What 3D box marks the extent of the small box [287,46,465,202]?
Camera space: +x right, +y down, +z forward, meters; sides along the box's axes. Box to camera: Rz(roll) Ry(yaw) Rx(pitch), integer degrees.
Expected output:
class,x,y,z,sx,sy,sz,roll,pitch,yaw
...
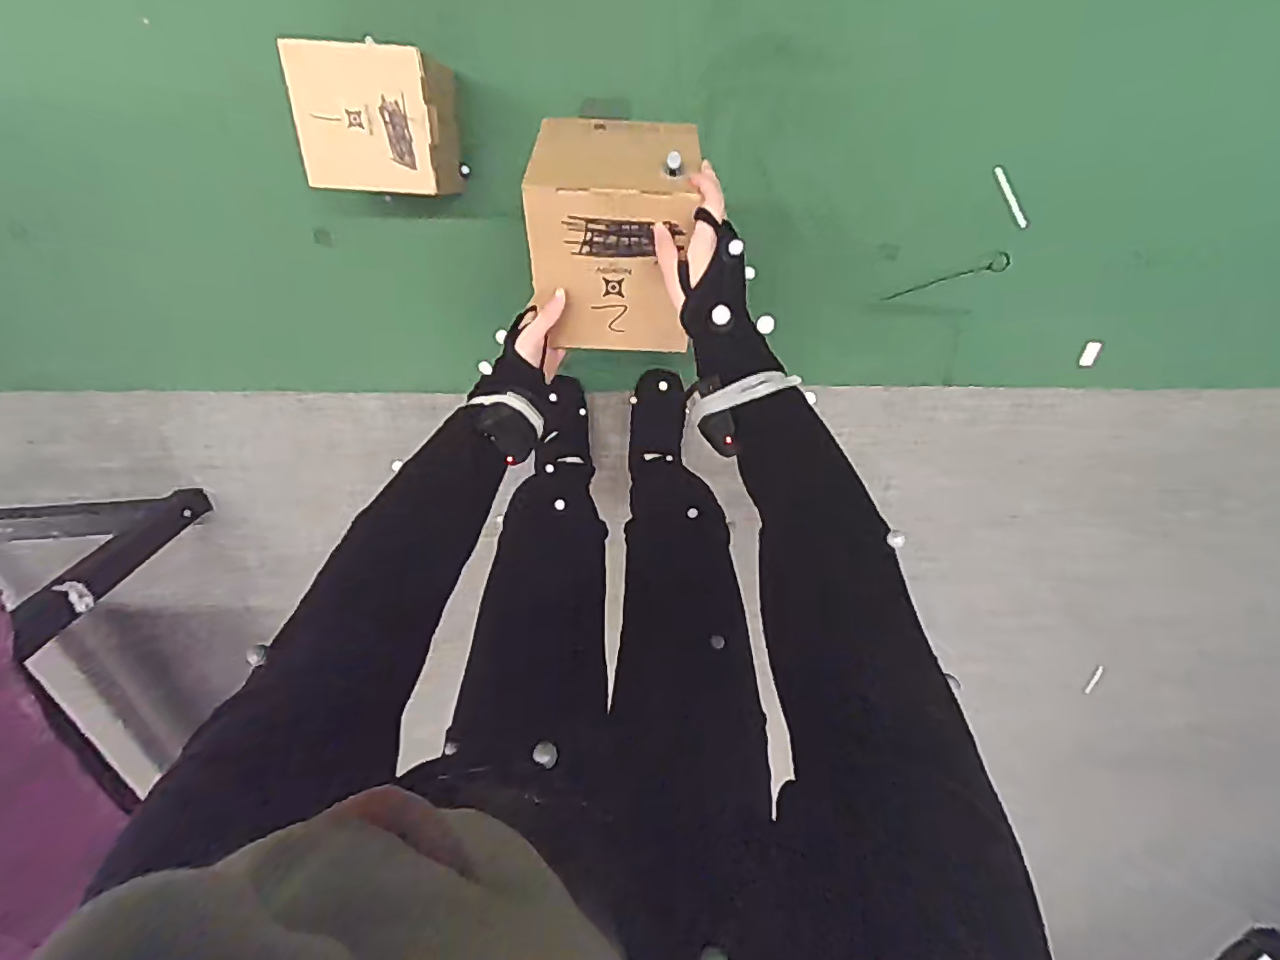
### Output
class,x,y,z,sx,sy,sz,roll,pitch,yaw
small box,-0.363,-0.507,0.788,0.179,0.176,0.168,2,118,-2
